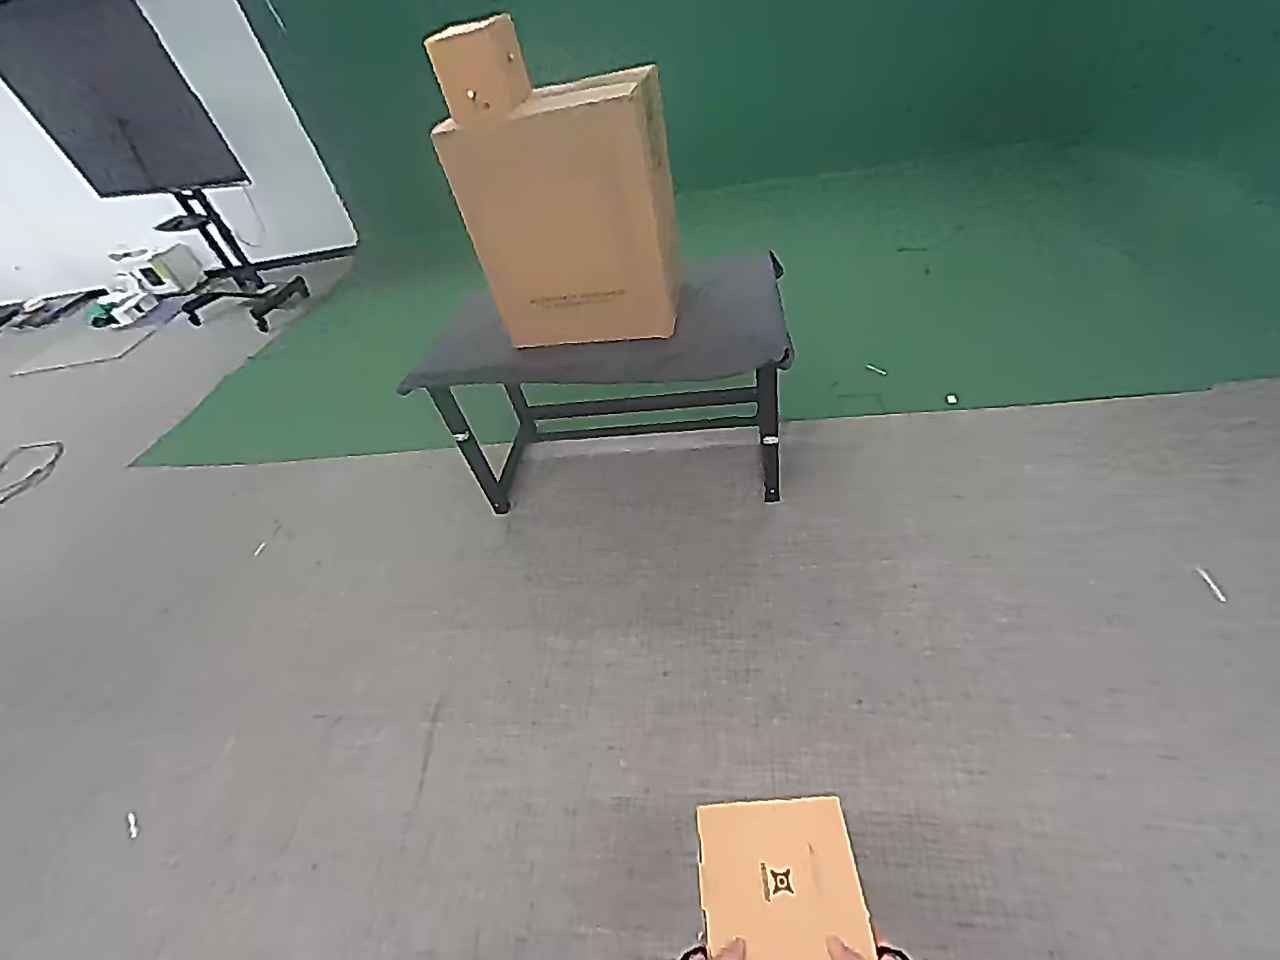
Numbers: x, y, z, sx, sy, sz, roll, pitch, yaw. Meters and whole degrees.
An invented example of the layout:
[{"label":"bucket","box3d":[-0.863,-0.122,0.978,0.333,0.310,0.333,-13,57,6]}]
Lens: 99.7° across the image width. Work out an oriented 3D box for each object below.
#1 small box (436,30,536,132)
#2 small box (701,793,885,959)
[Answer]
[{"label":"small box","box3d":[-0.383,-1.017,1.384,0.168,0.176,0.179,-1,47,15]},{"label":"small box","box3d":[0.175,0.504,0.657,0.179,0.176,0.168,-8,42,6]}]
